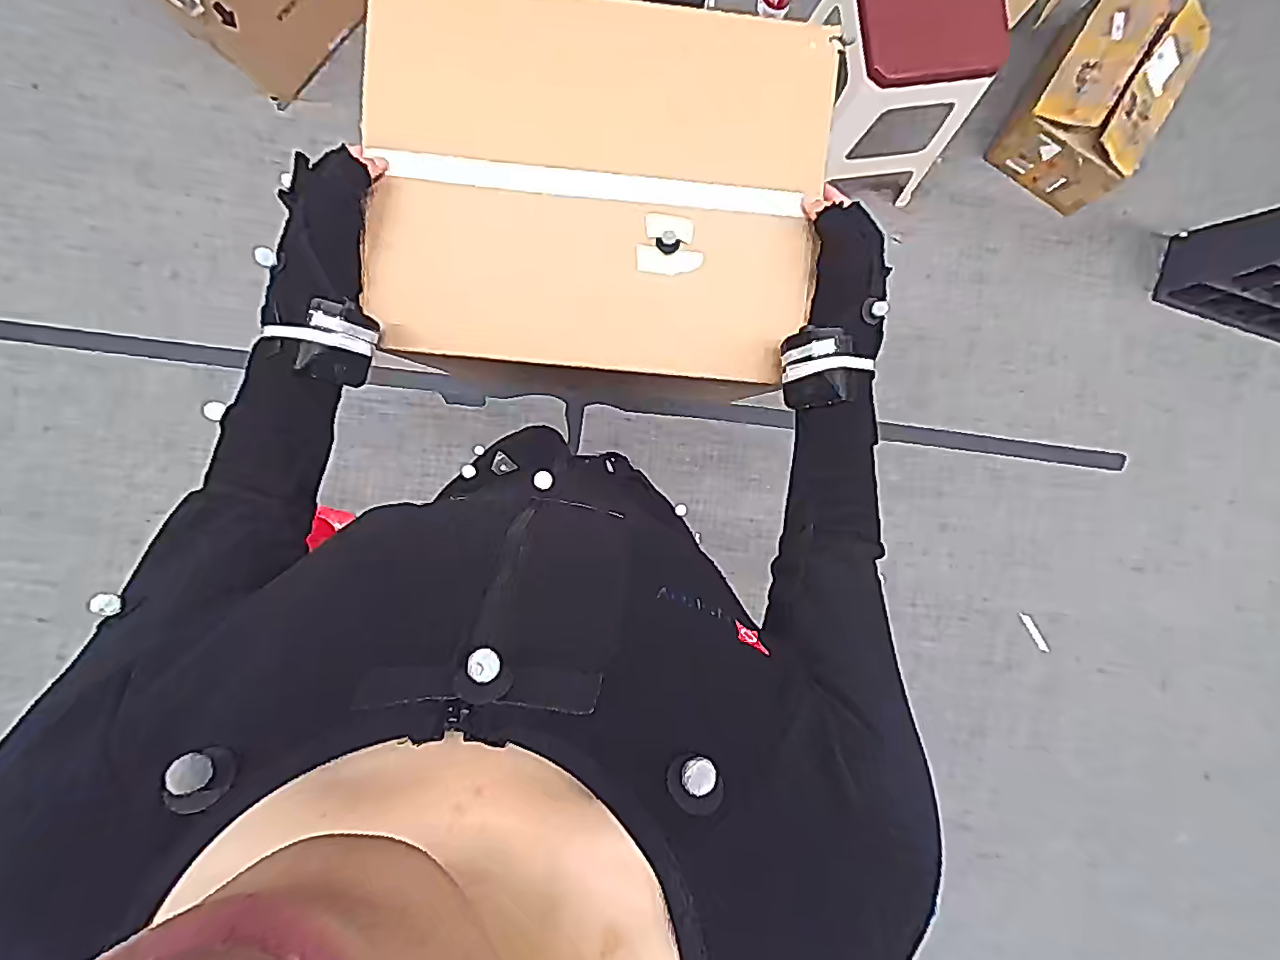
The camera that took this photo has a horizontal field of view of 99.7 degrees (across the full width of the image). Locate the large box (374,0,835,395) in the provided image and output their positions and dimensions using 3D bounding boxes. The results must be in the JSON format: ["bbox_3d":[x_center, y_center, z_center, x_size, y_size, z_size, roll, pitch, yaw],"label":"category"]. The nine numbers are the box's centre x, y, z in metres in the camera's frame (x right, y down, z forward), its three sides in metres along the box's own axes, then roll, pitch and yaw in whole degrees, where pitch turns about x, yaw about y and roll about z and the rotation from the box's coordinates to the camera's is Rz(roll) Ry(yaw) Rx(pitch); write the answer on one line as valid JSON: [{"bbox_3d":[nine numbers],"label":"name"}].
[{"bbox_3d":[-0.041,-0.277,0.631,0.408,0.320,0.320,4,95,-4],"label":"large box"}]

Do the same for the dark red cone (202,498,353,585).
[{"bbox_3d":[-0.845,0.159,1.236,0.201,0.394,0.202,13,90,-4],"label":"dark red cone"}]
